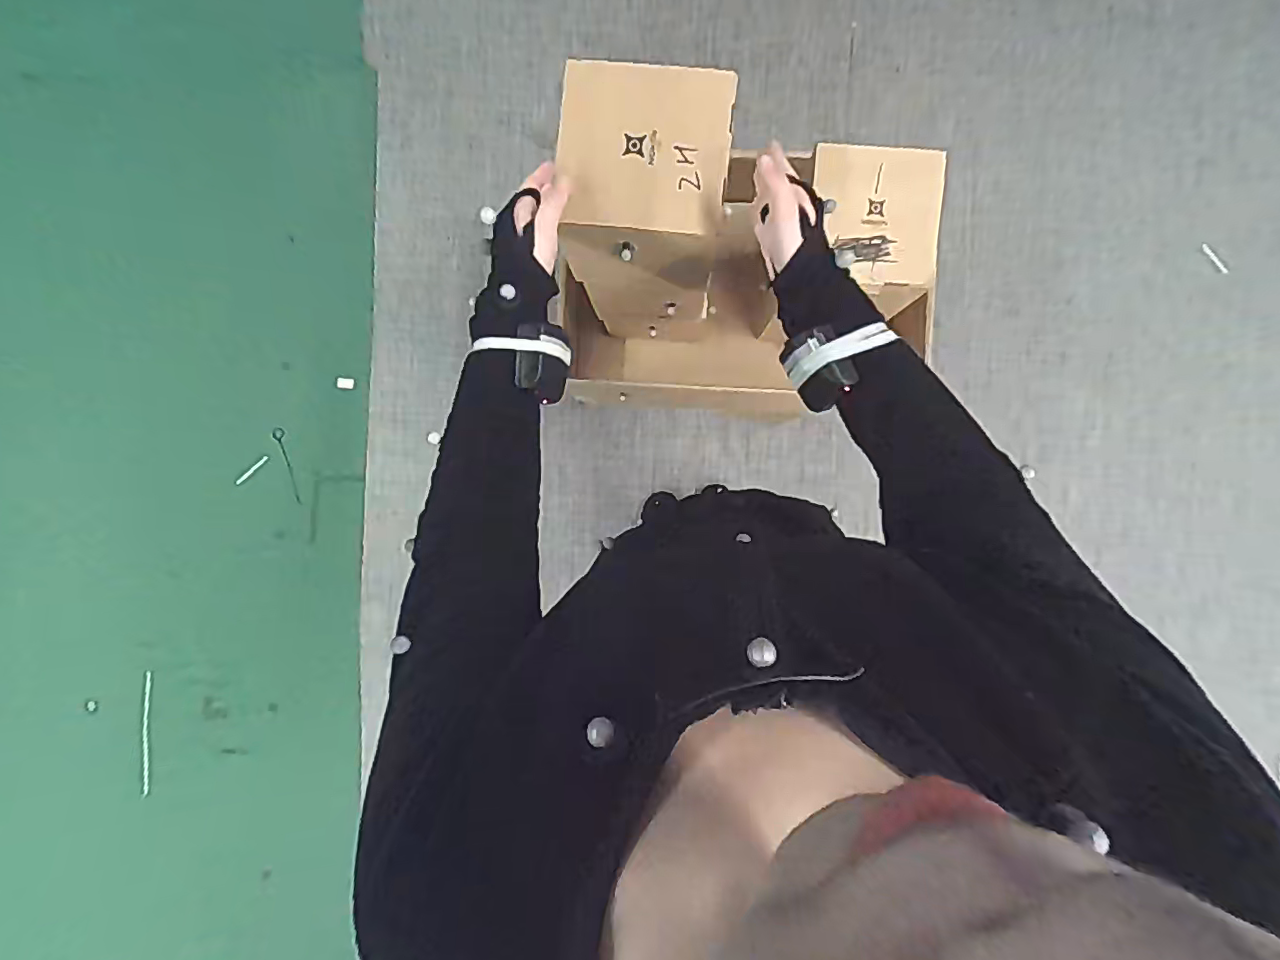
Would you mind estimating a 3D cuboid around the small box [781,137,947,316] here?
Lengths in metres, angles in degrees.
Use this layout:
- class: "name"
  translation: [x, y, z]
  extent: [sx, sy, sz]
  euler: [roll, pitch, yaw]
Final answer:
- class: "small box"
  translation: [0.302, -0.344, 0.765]
  extent: [0.168, 0.176, 0.179]
  euler: [6, 90, 4]

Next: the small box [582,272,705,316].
- class: "small box"
  translation: [0.016, -0.348, 0.786]
  extent: [0.168, 0.176, 0.179]
  euler: [4, 91, 3]

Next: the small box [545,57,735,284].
- class: "small box"
  translation: [0.004, -0.338, 0.622]
  extent: [0.179, 0.176, 0.168]
  euler: [7, 92, 3]
